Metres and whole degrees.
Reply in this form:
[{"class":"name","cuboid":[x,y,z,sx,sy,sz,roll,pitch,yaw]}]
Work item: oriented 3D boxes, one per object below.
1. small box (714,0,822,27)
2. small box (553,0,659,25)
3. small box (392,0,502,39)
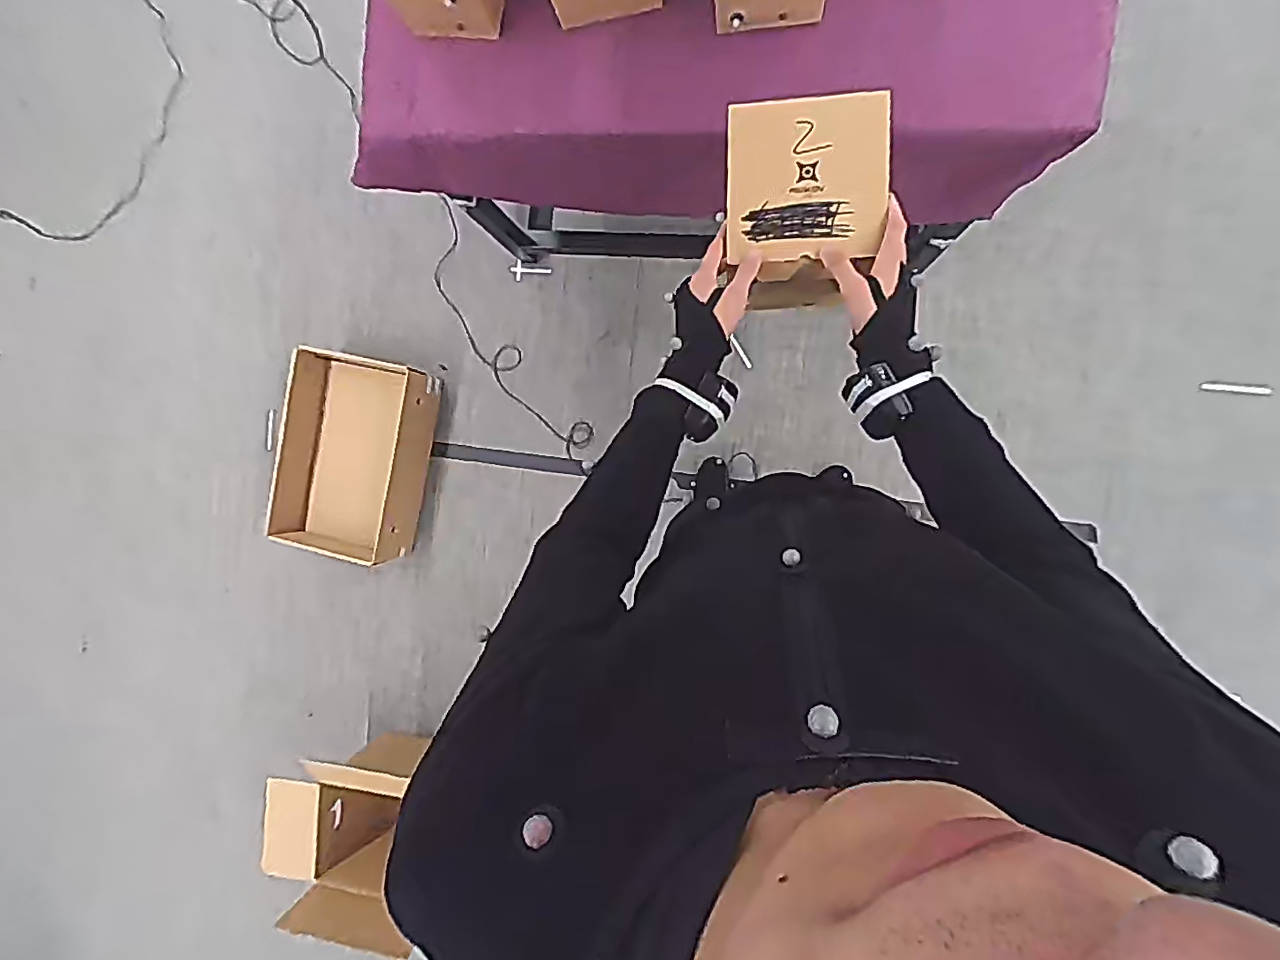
[{"class":"small box","cuboid":[0.190,-0.806,0.785,0.168,0.176,0.179,1,91,10]},{"class":"small box","cuboid":[-0.068,-0.850,0.828,0.179,0.176,0.168,-3,92,10]},{"class":"small box","cuboid":[-0.325,-0.863,0.874,0.168,0.176,0.179,11,93,9]}]
